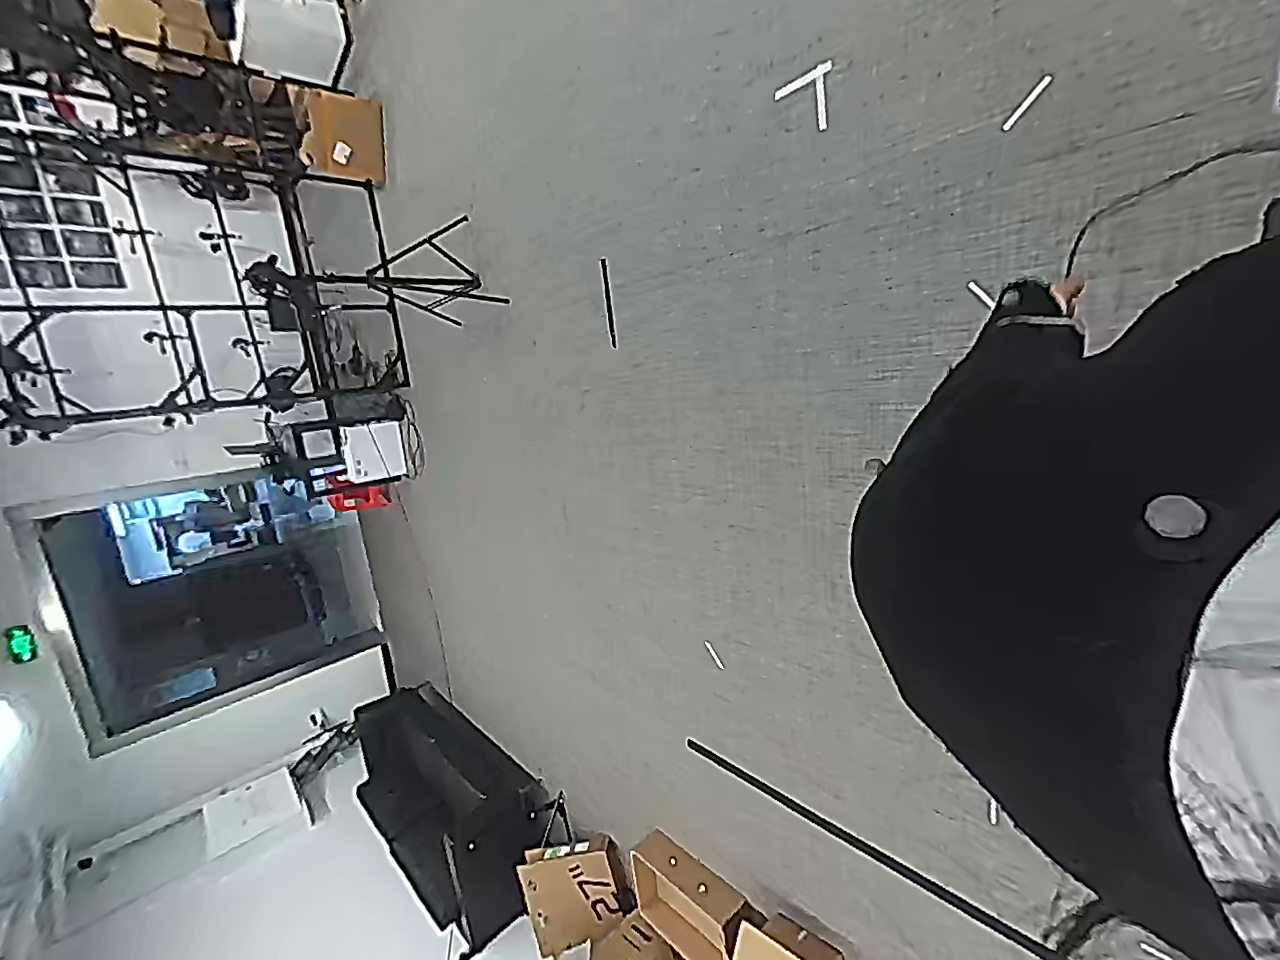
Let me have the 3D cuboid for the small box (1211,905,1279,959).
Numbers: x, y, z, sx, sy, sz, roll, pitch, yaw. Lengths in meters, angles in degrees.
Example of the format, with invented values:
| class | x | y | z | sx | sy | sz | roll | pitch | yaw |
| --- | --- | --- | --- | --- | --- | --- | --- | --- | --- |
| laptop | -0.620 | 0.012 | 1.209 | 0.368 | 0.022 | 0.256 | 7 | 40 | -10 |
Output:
| class | x | y | z | sx | sy | sz | roll | pitch | yaw |
| --- | --- | --- | --- | --- | --- | --- | --- | --- | --- |
| small box | 1.223 | 0.987 | 1.036 | 0.168 | 0.176 | 0.179 | -4 | 99 | 49 |
